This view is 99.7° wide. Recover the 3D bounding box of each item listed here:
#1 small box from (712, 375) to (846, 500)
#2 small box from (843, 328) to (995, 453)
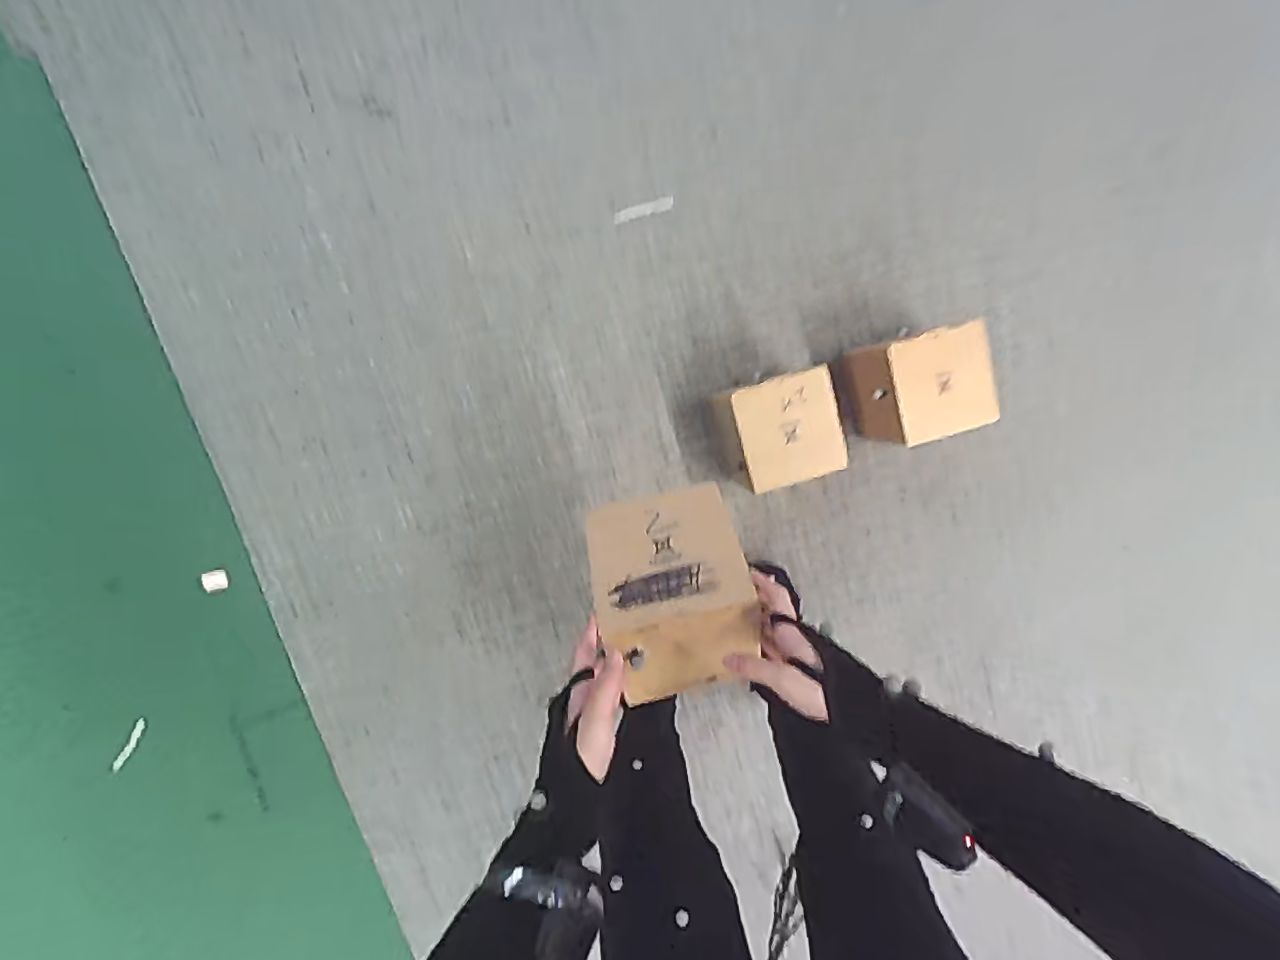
[{"bbox_3d":[0.240,-0.079,0.967,0.168,0.176,0.179,-17,98,-2],"label":"small box"},{"bbox_3d":[0.495,-0.160,0.979,0.168,0.176,0.179,-17,98,-2],"label":"small box"}]
